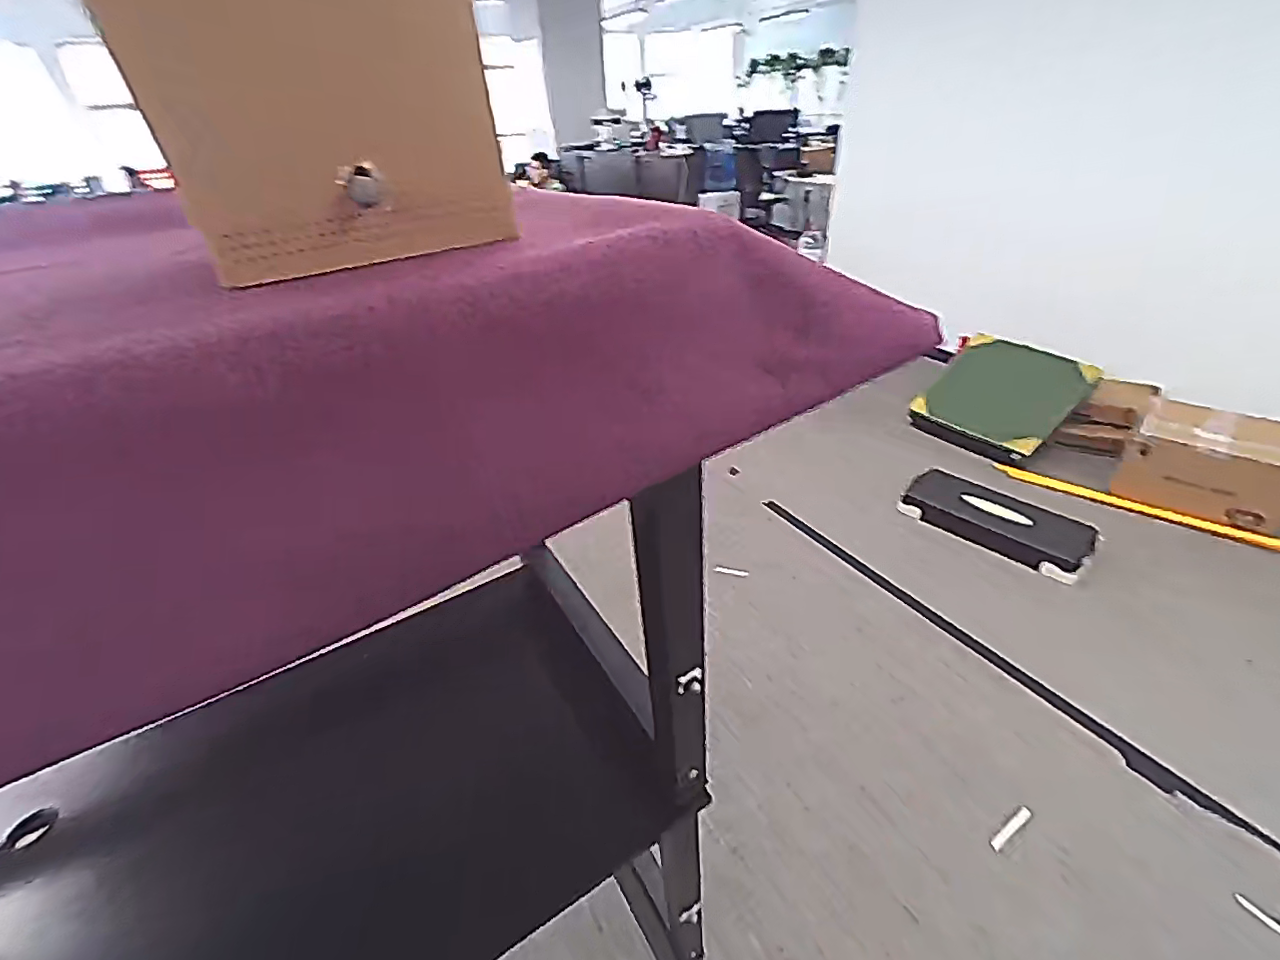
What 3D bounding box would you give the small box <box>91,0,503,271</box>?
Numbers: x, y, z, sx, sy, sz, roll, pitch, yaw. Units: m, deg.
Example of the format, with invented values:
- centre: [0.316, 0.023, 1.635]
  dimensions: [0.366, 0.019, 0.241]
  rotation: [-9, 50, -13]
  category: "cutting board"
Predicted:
- centre: [-0.198, -0.245, 0.342]
  dimensions: [0.179, 0.176, 0.168]
  rotation: [-21, 37, -22]
  category: "small box"
